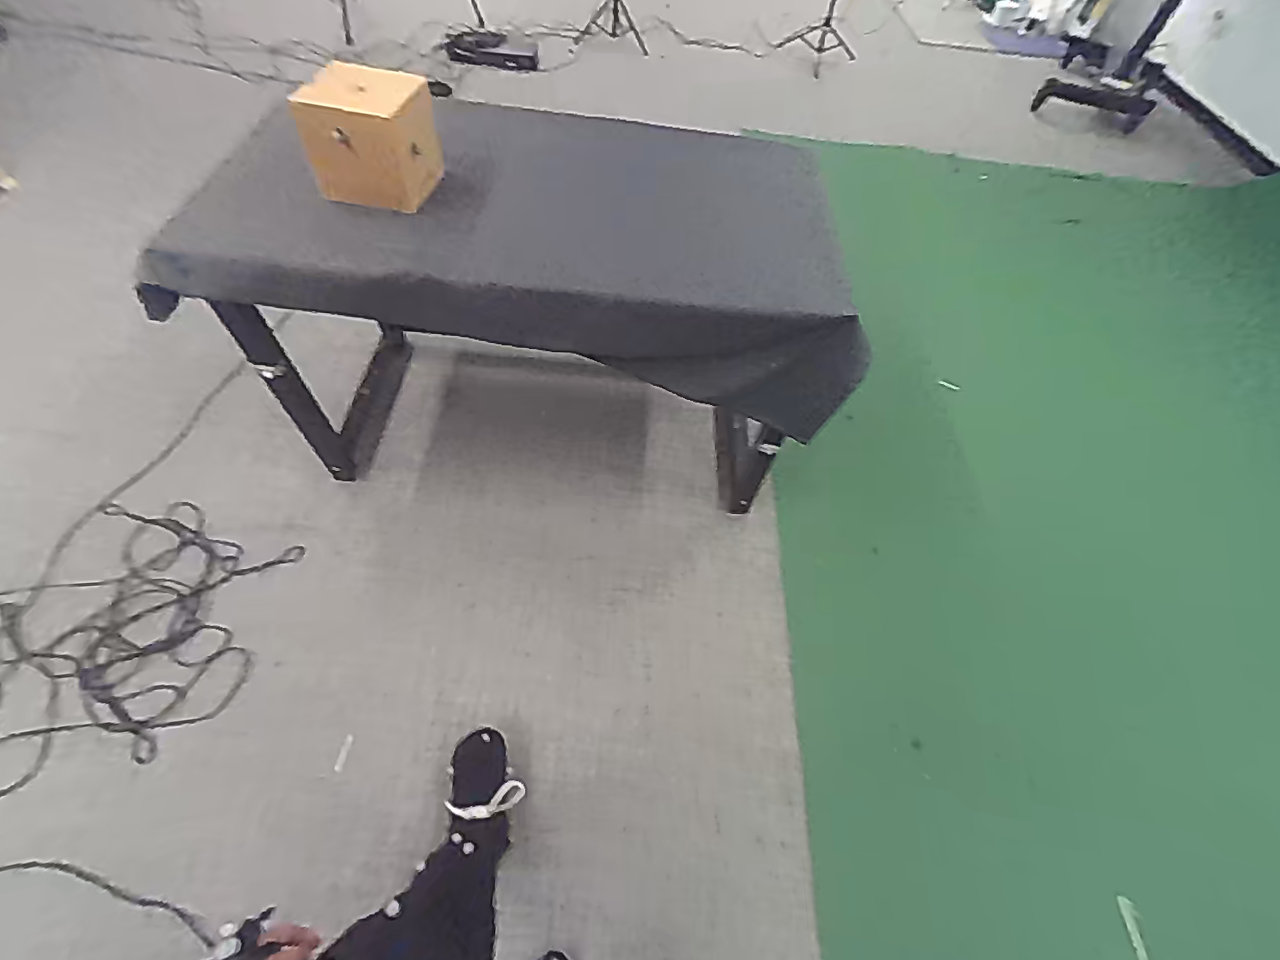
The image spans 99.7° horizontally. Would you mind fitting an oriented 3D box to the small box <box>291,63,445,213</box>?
[{"bbox_3d":[-0.476,-0.615,0.984,0.179,0.176,0.168,11,56,1],"label":"small box"}]
